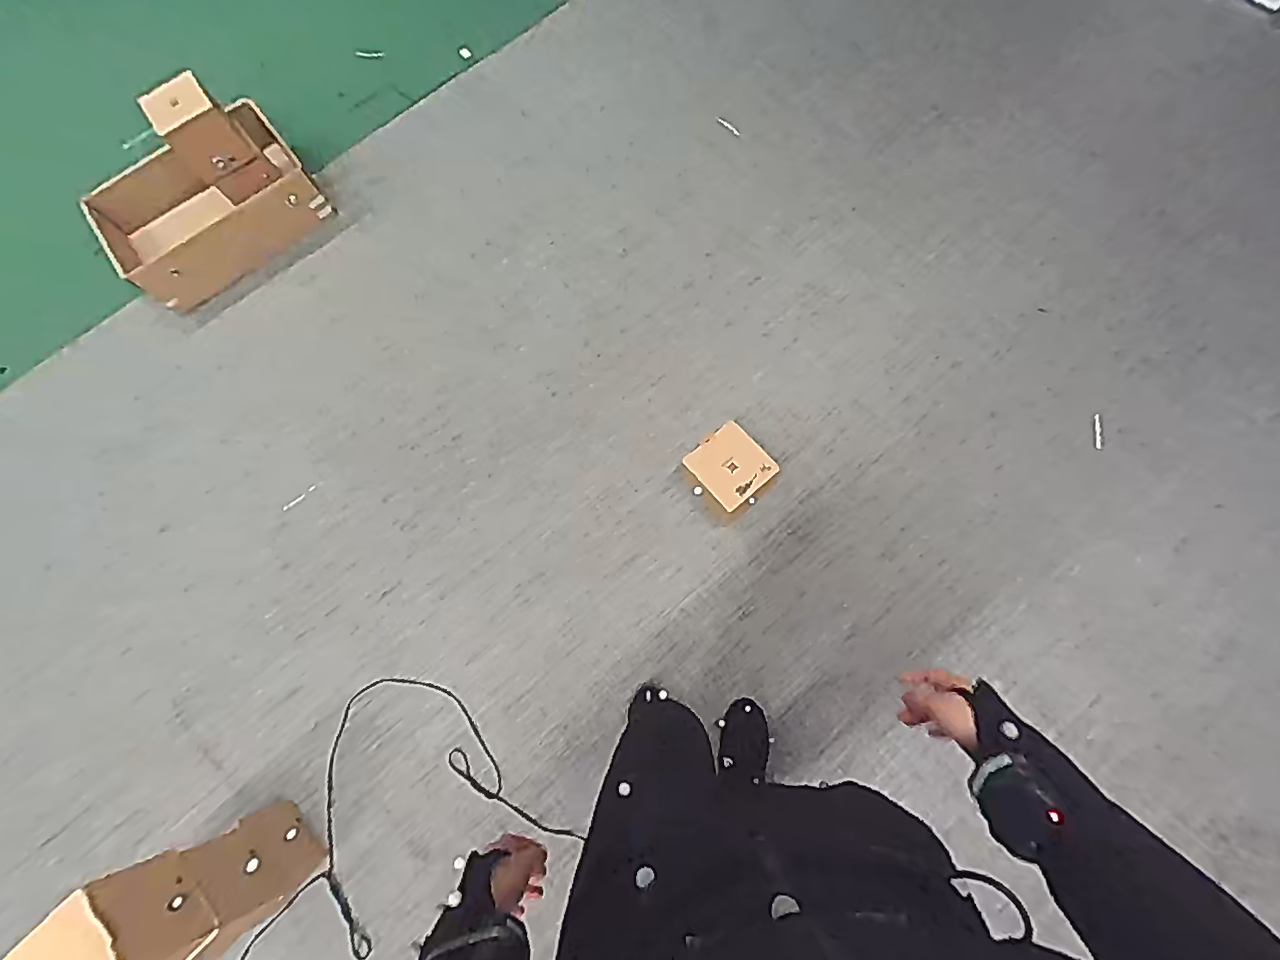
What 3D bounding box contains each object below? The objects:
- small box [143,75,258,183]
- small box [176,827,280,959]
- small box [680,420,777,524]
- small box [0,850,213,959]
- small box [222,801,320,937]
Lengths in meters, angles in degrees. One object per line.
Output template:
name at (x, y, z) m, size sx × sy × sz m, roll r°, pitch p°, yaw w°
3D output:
small box at (-1.277, -1.017, 1.580) m, size 0.168 × 0.176 × 0.179 m, roll -37°, pitch 75°, yaw -6°
small box at (-0.848, 0.814, 1.032) m, size 0.179 × 0.176 × 0.168 m, roll -44°, pitch 75°, yaw -9°
small box at (0.216, -0.013, 1.362) m, size 0.168 × 0.176 × 0.179 m, roll -39°, pitch 73°, yaw -7°
small box at (-0.863, 0.759, 0.879) m, size 0.168 × 0.176 × 0.179 m, roll 42°, pitch 80°, yaw 15°
small box at (-0.849, 0.853, 1.191) m, size 0.168 × 0.176 × 0.179 m, roll 40°, pitch 81°, yaw 16°
